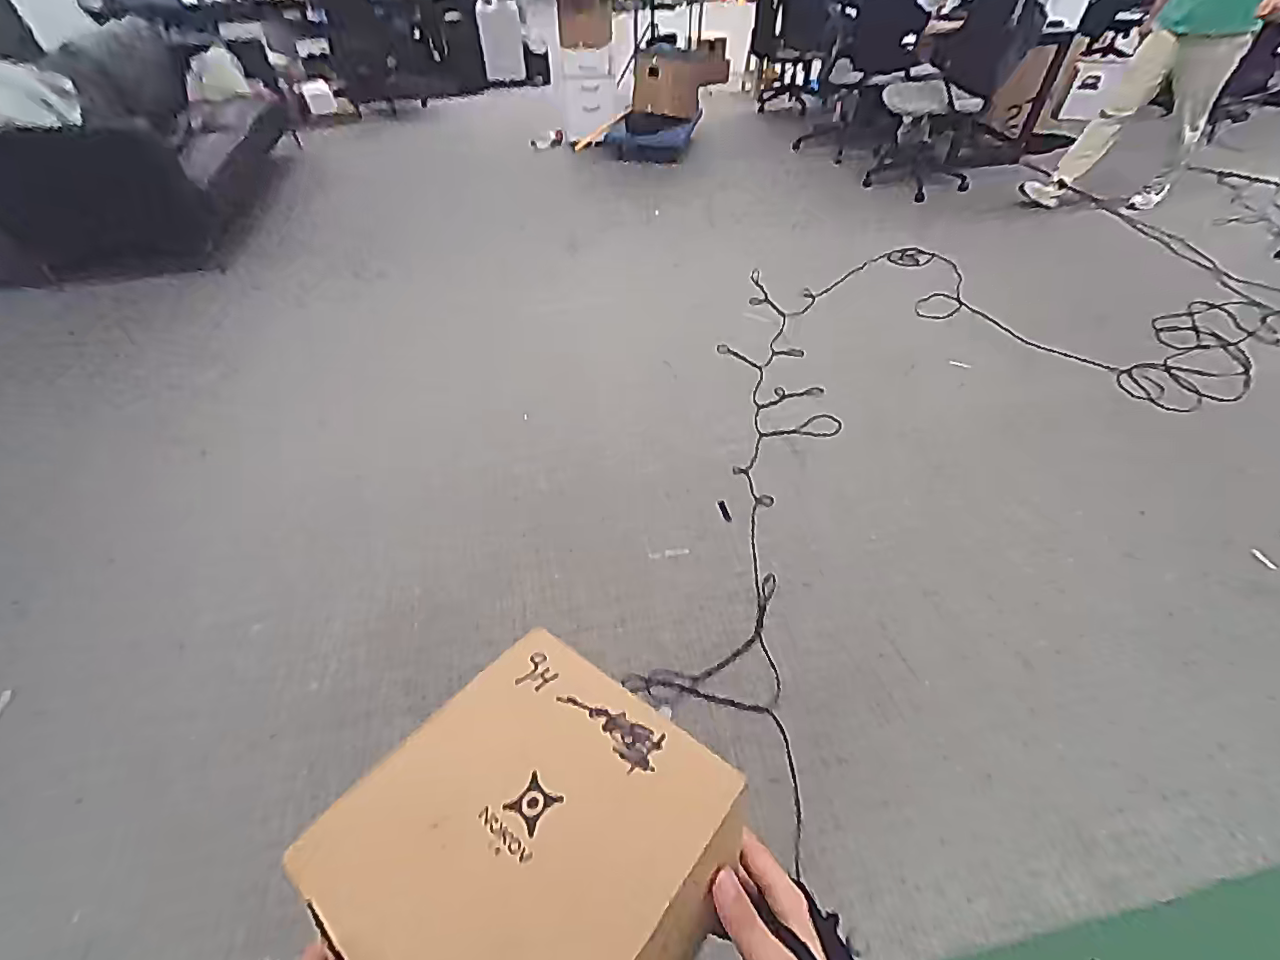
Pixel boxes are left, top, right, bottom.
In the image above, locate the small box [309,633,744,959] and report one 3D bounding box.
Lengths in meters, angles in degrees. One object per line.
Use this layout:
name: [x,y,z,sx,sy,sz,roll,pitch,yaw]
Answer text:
small box: [-0.050,0.240,0.333,0.168,0.176,0.179,23,46,32]
